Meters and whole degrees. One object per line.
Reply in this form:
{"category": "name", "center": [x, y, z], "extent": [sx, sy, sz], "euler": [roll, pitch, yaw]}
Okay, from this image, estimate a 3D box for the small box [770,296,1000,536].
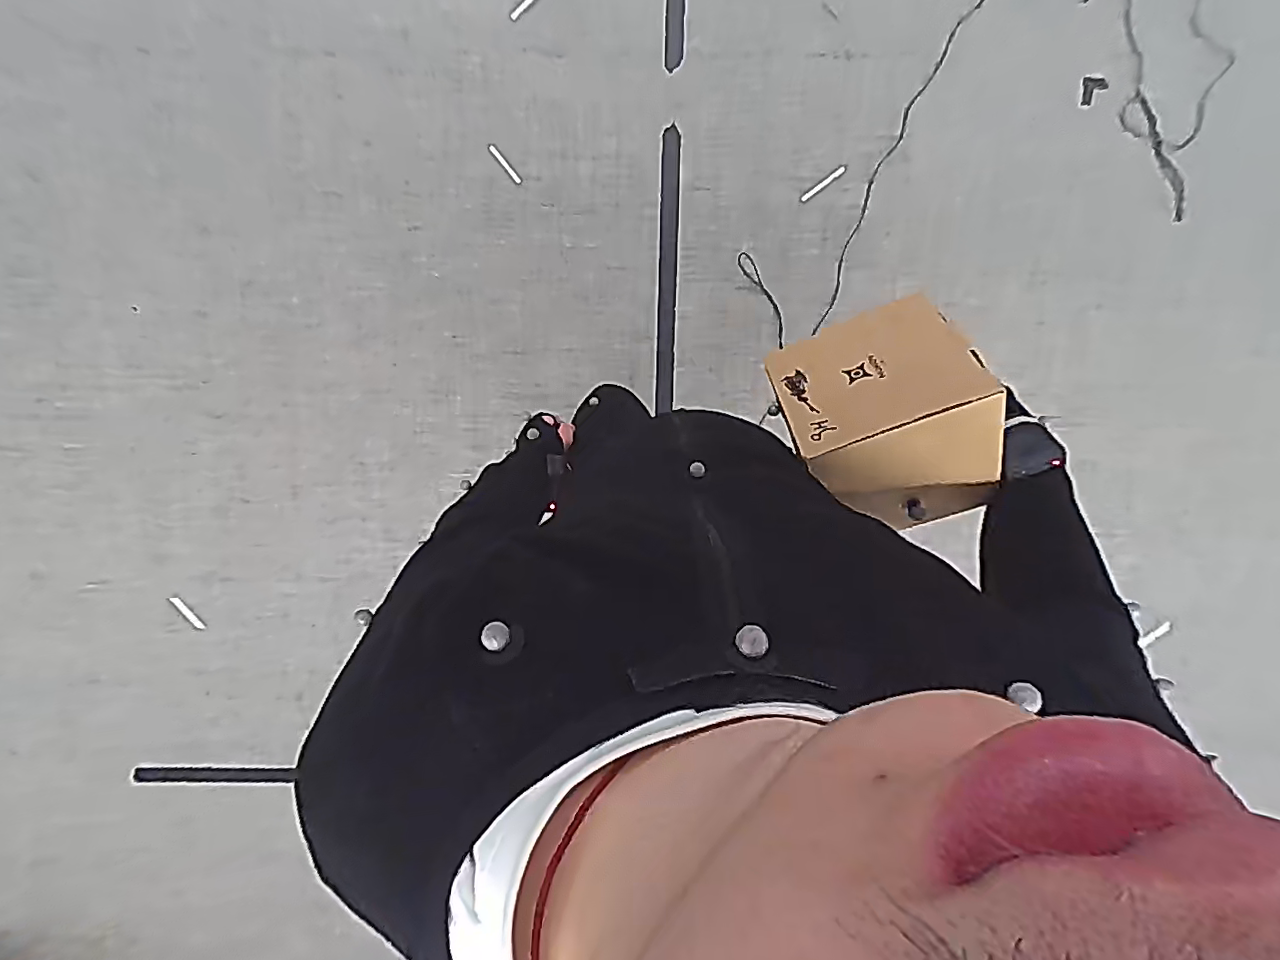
{"category": "small box", "center": [0.265, -0.064, 0.604], "extent": [0.179, 0.168, 0.176], "euler": [-20, 135, 15]}
